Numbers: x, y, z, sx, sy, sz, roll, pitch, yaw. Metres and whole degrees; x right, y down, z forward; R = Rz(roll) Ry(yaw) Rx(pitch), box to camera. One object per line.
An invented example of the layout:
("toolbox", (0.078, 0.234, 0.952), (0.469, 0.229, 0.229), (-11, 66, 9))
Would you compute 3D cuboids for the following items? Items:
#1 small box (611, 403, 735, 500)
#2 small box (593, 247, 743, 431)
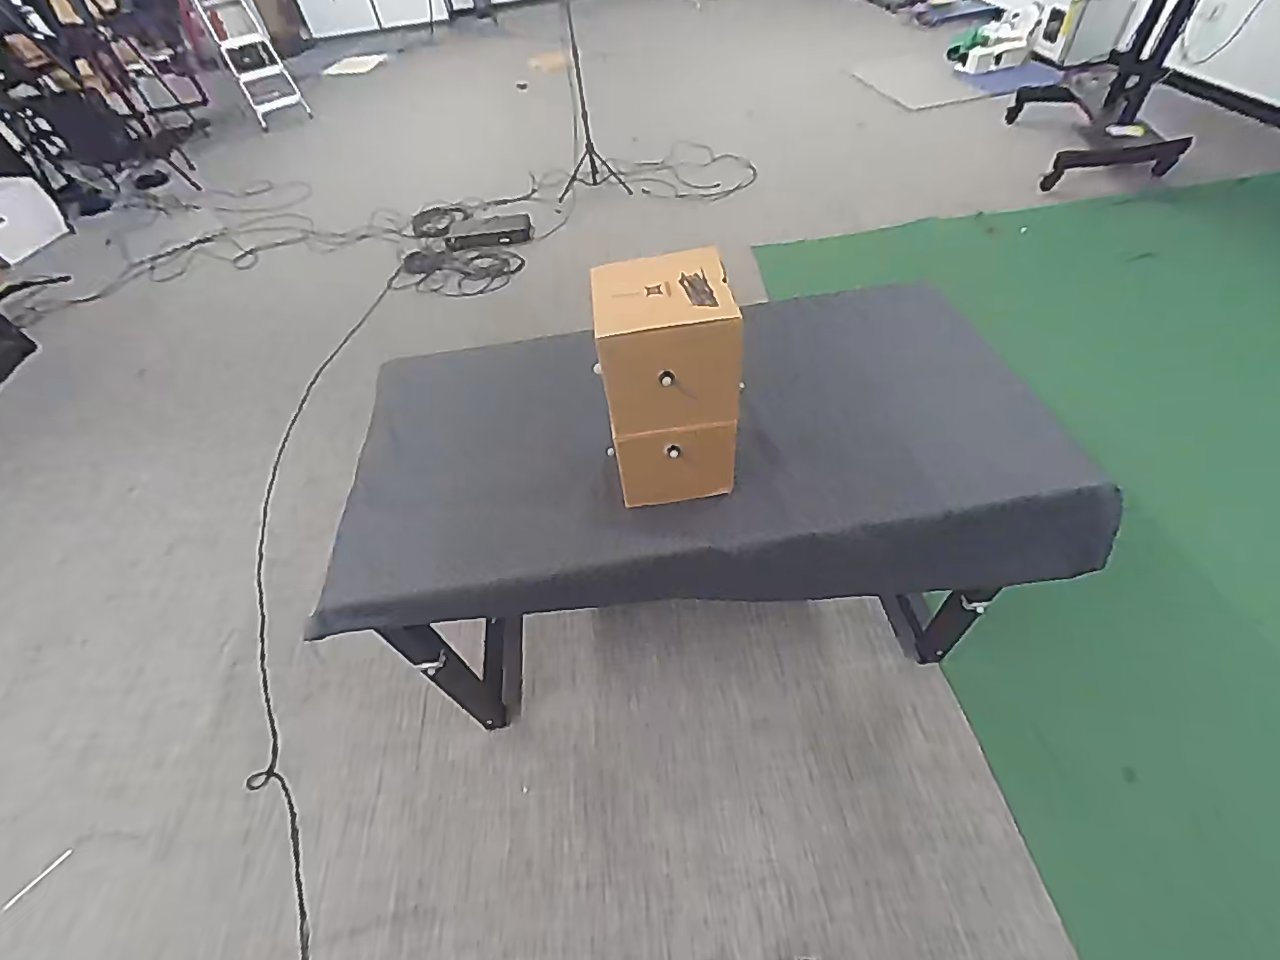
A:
("small box", (0.048, -0.083, 0.866), (0.179, 0.176, 0.168), (-7, 52, -1))
("small box", (0.036, -0.188, 0.740), (0.179, 0.176, 0.168), (-8, 51, 2))
